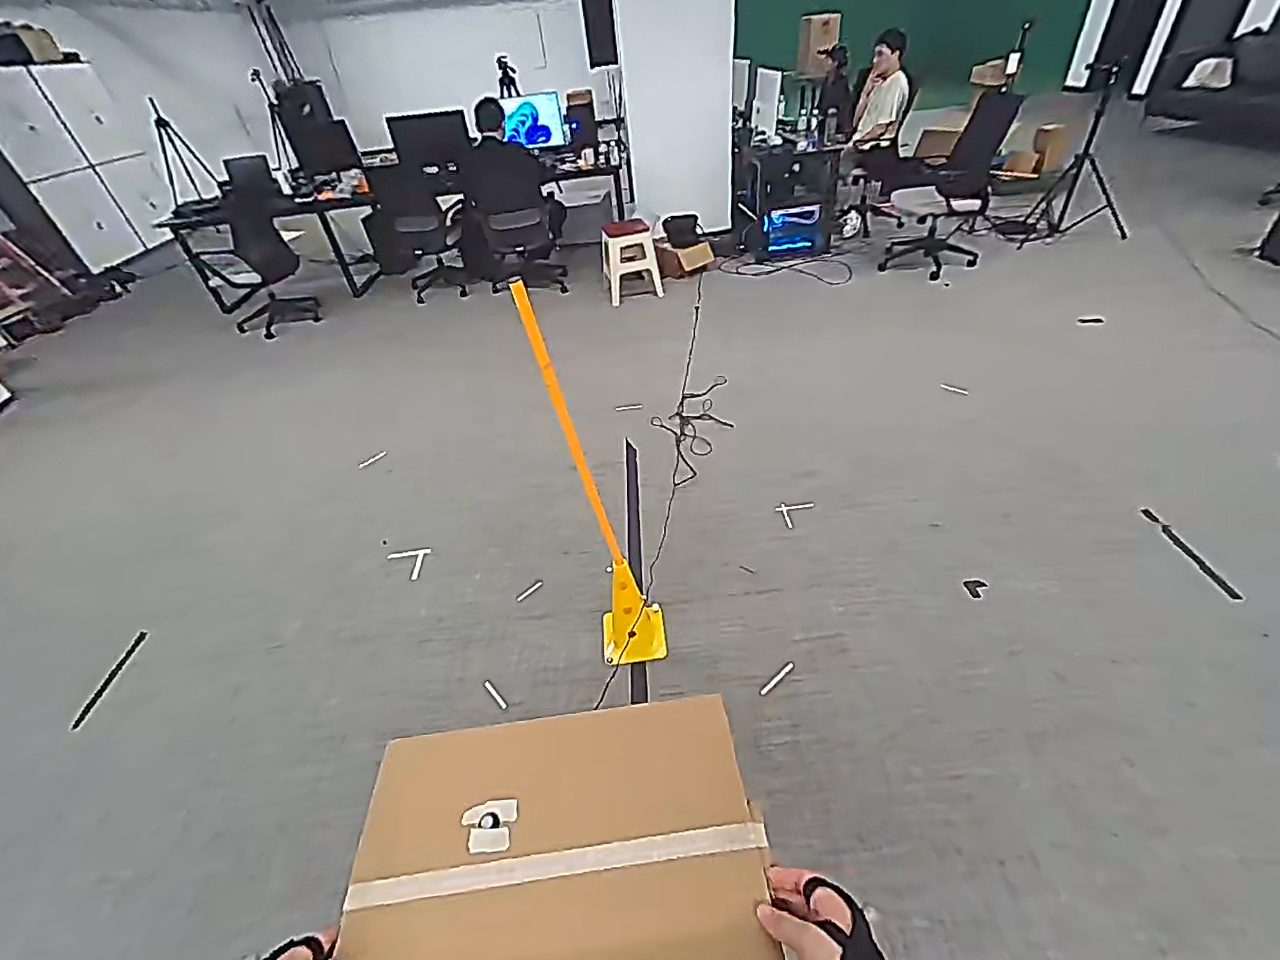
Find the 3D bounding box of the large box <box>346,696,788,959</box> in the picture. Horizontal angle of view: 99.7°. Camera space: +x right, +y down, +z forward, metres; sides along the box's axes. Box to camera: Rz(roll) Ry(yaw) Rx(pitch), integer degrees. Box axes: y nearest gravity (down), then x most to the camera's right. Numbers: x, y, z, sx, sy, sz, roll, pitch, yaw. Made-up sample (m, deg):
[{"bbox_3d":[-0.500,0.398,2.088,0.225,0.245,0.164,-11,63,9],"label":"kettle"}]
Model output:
[{"bbox_3d":[-0.061,0.503,0.629,0.408,0.320,0.320,-9,37,-1],"label":"large box"}]
